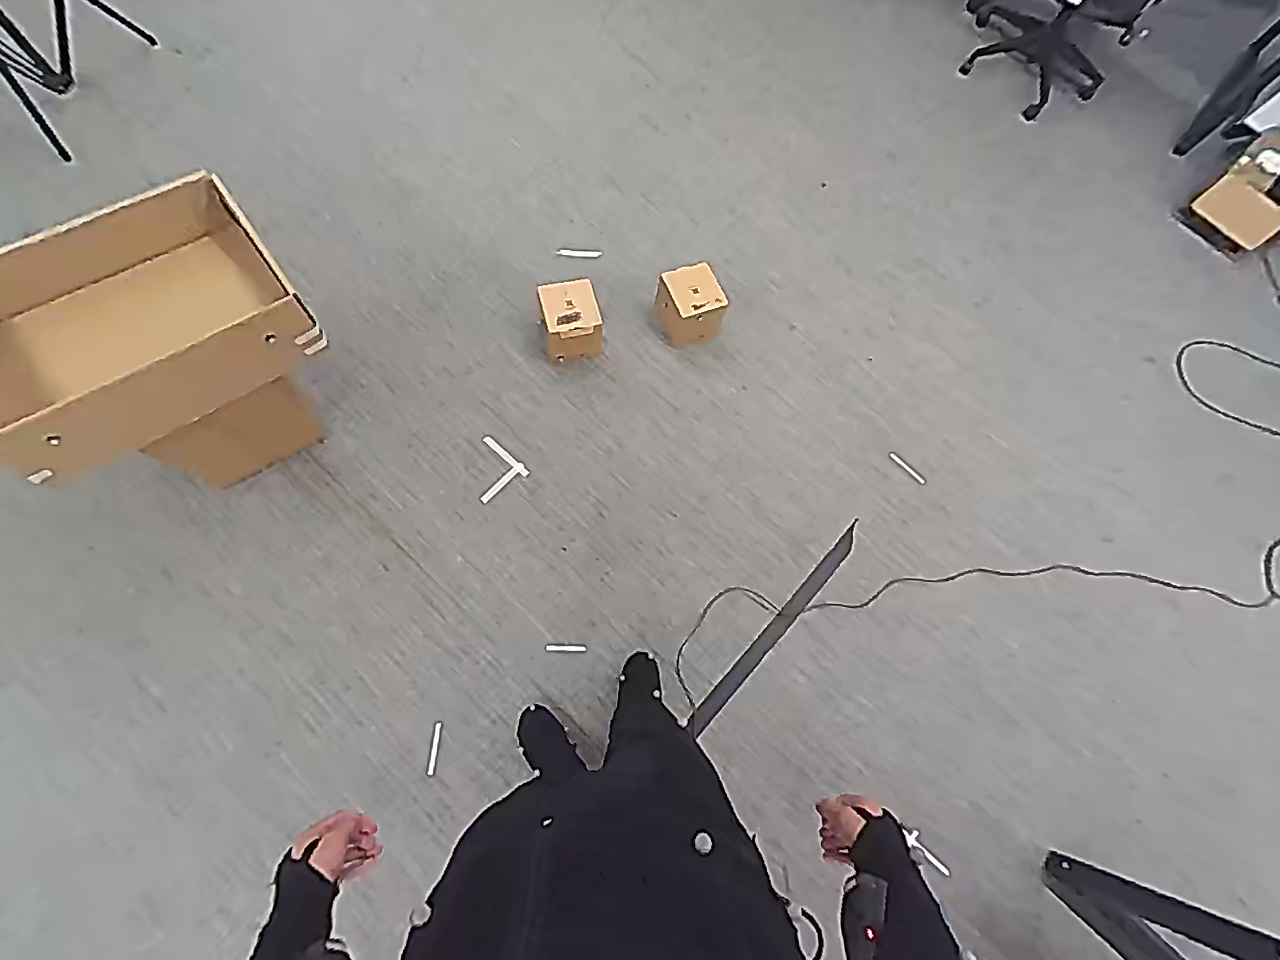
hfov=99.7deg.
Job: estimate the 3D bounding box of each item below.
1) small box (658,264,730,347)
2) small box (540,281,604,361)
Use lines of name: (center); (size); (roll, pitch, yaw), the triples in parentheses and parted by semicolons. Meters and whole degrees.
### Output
small box: (0.171, -0.569, 1.776); (0.168, 0.176, 0.179); (-20, 73, -12)
small box: (-0.212, -0.493, 1.706); (0.168, 0.176, 0.179); (-13, 73, -11)
